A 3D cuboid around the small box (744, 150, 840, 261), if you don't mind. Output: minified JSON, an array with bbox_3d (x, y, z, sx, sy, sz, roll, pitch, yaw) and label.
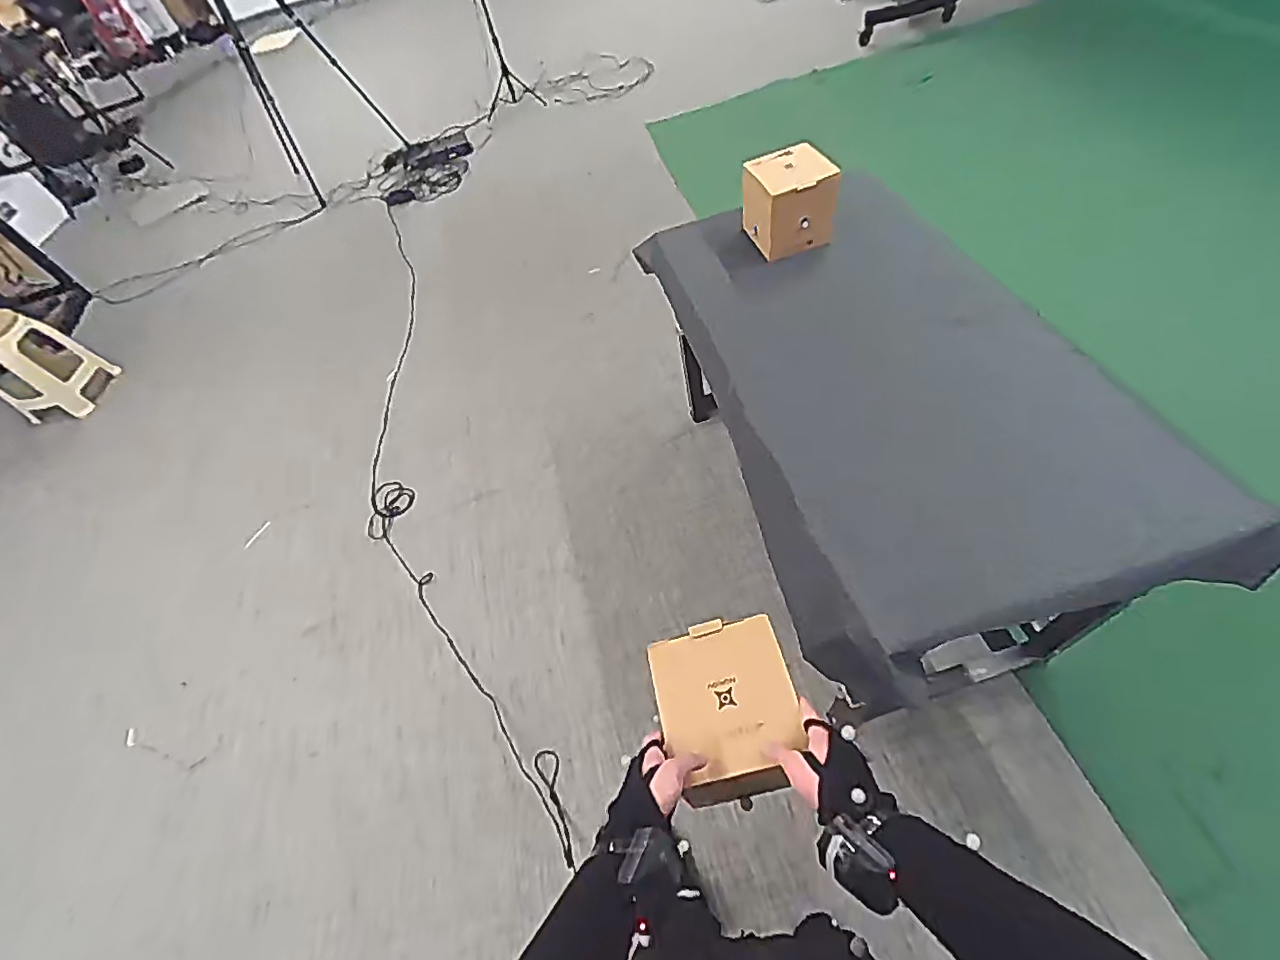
[{"bbox_3d":[0.362,-0.655,1.310,0.168,0.176,0.179,-18,55,-1],"label":"small box"}]

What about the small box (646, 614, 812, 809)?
[{"bbox_3d":[0.113,0.303,0.699,0.168,0.176,0.179,-15,50,6],"label":"small box"}]
